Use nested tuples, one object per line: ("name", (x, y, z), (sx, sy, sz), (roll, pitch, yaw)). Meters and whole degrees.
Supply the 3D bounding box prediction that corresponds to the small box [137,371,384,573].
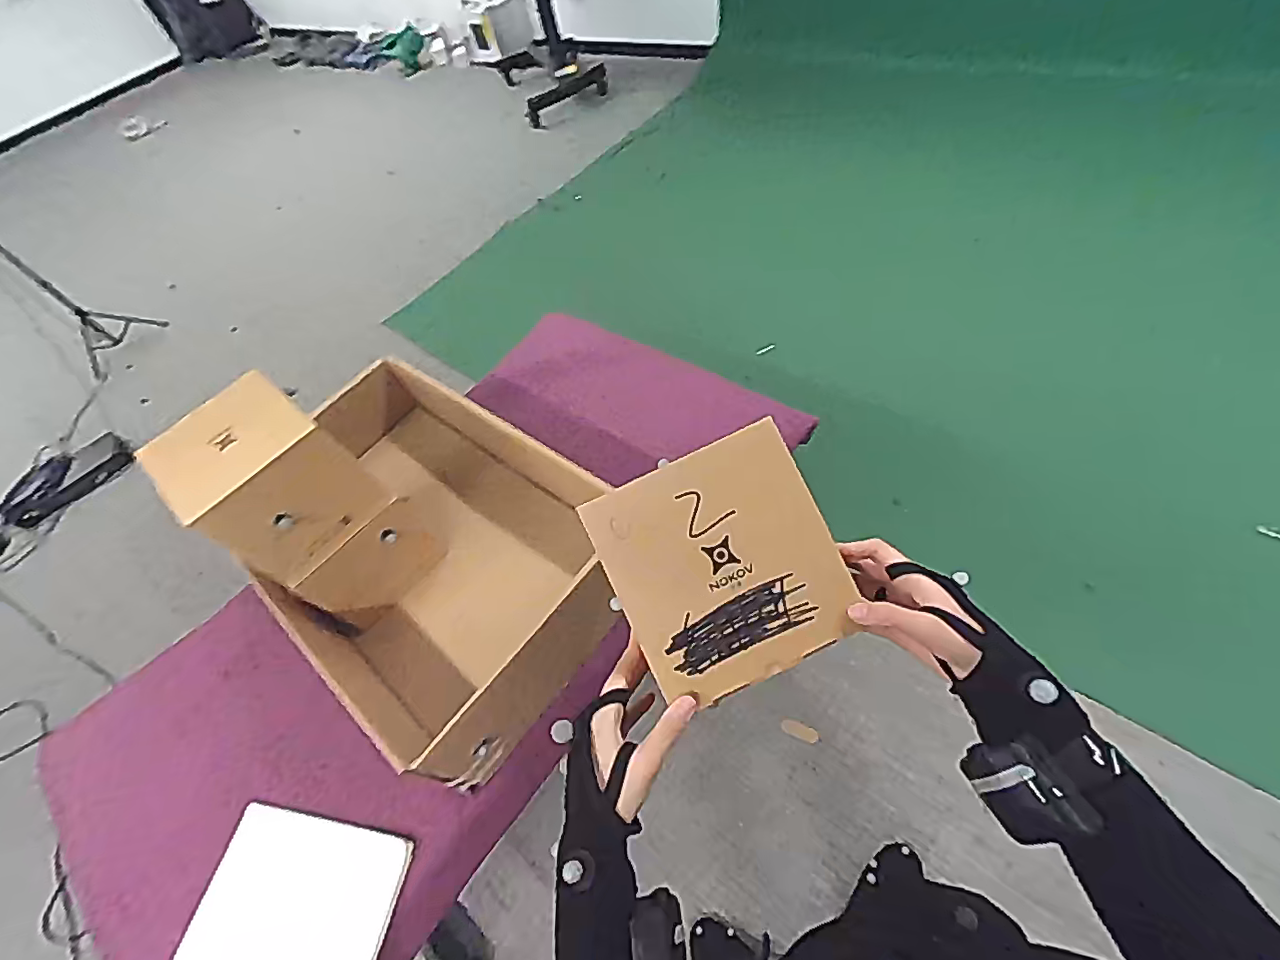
("small box", (-0.474, -0.003, 0.699), (0.179, 0.176, 0.168), (32, 68, 29))
